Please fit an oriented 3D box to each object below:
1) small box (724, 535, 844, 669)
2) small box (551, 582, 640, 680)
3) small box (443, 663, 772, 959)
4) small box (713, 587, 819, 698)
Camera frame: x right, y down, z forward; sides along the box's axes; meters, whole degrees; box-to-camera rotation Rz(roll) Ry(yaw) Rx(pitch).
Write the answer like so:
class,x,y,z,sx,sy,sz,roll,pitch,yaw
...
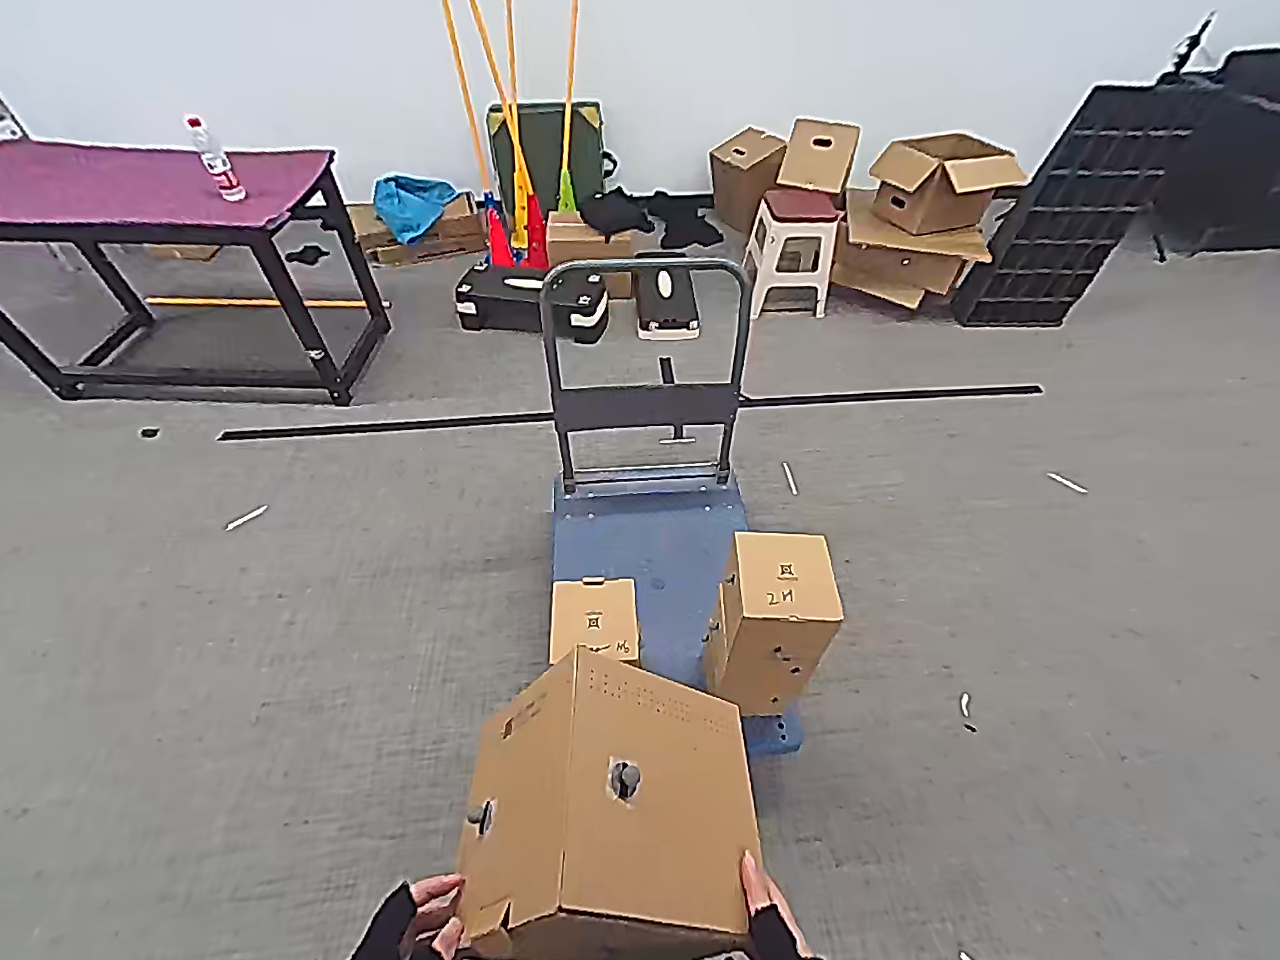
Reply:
class,x,y,z,sx,sy,sz,roll,pitch,yaw
small box,0.248,0.221,0.982,0.168,0.176,0.179,3,48,1
small box,-0.087,0.326,1.099,0.168,0.176,0.179,-2,48,-2
small box,-0.026,0.272,0.439,0.179,0.168,0.176,29,35,-24
small box,0.245,0.333,1.104,0.179,0.176,0.168,2,48,-1
